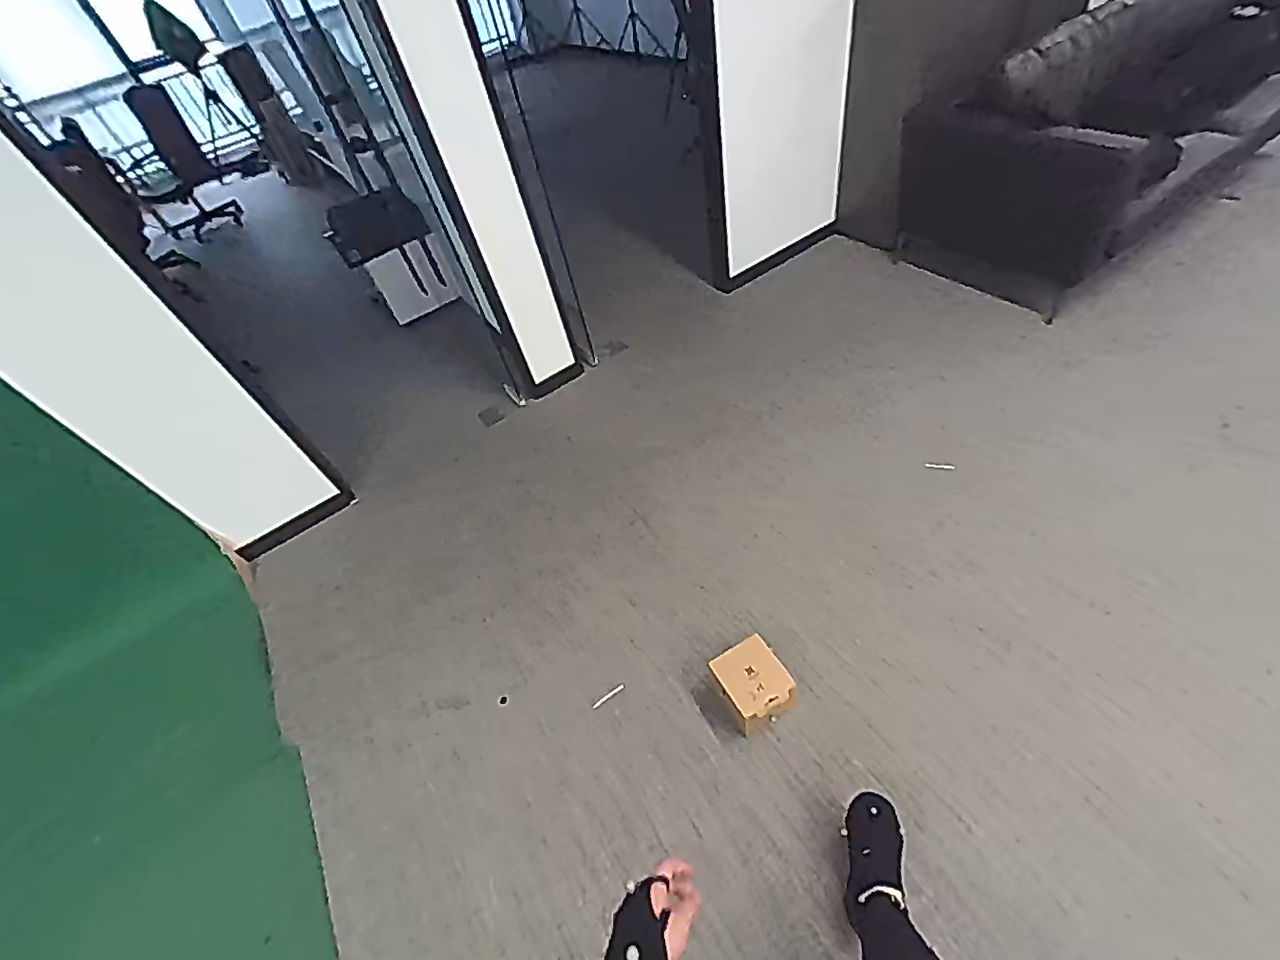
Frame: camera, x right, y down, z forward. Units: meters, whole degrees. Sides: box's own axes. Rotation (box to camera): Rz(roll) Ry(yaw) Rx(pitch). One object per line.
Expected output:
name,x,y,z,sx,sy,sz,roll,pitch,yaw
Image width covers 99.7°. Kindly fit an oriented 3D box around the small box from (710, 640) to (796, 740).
small box,0.309,0.580,1.485,0.168,0.176,0.179,-24,50,-6
